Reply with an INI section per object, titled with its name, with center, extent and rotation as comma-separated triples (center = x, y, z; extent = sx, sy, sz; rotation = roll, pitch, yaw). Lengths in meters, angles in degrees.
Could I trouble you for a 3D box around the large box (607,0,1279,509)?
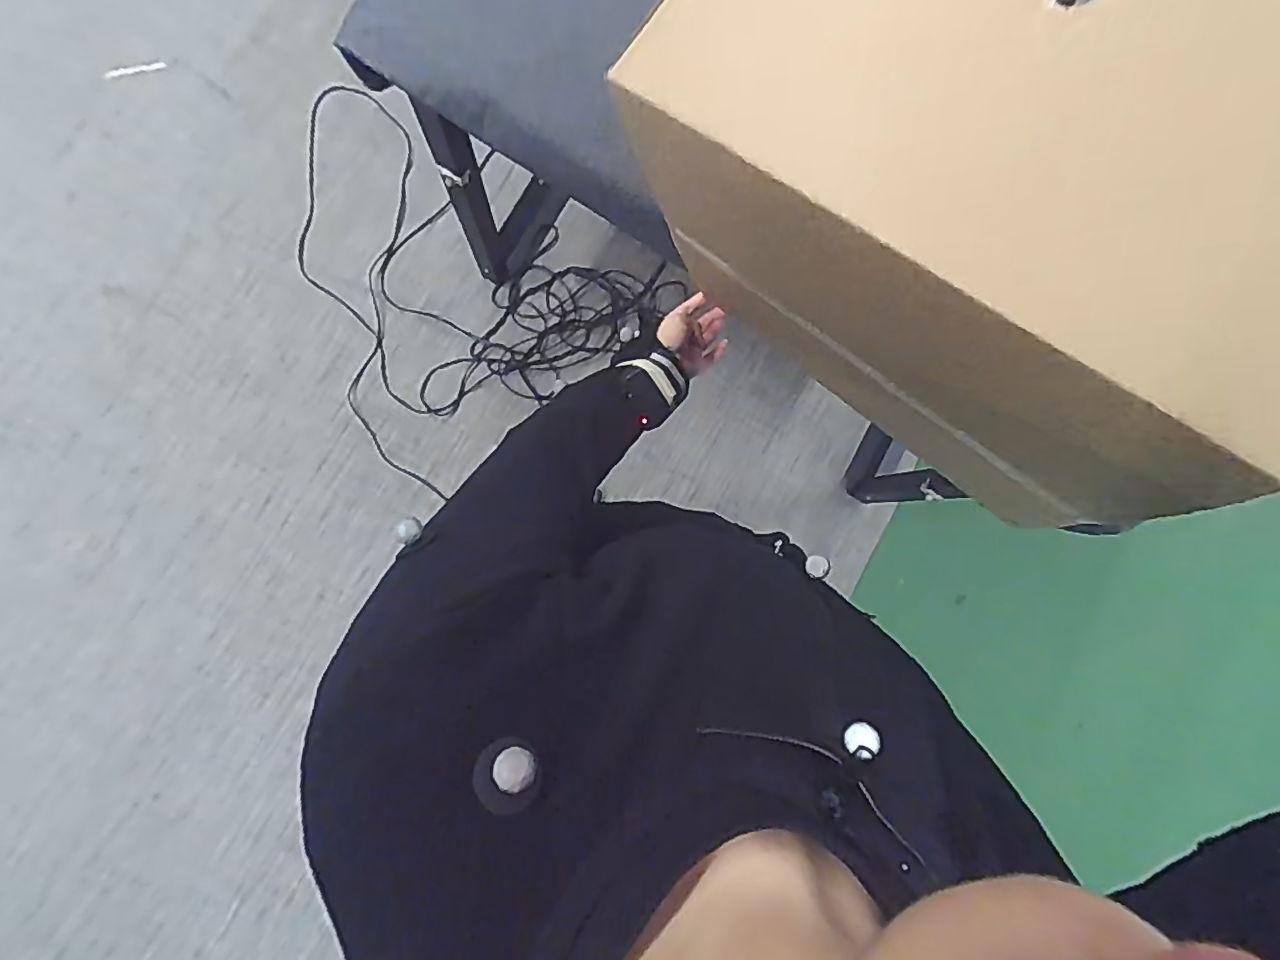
[large box]
center = 0.256, -0.221, 0.401
extent = 0.408, 0.320, 0.320
rotation = 41, 97, 19
